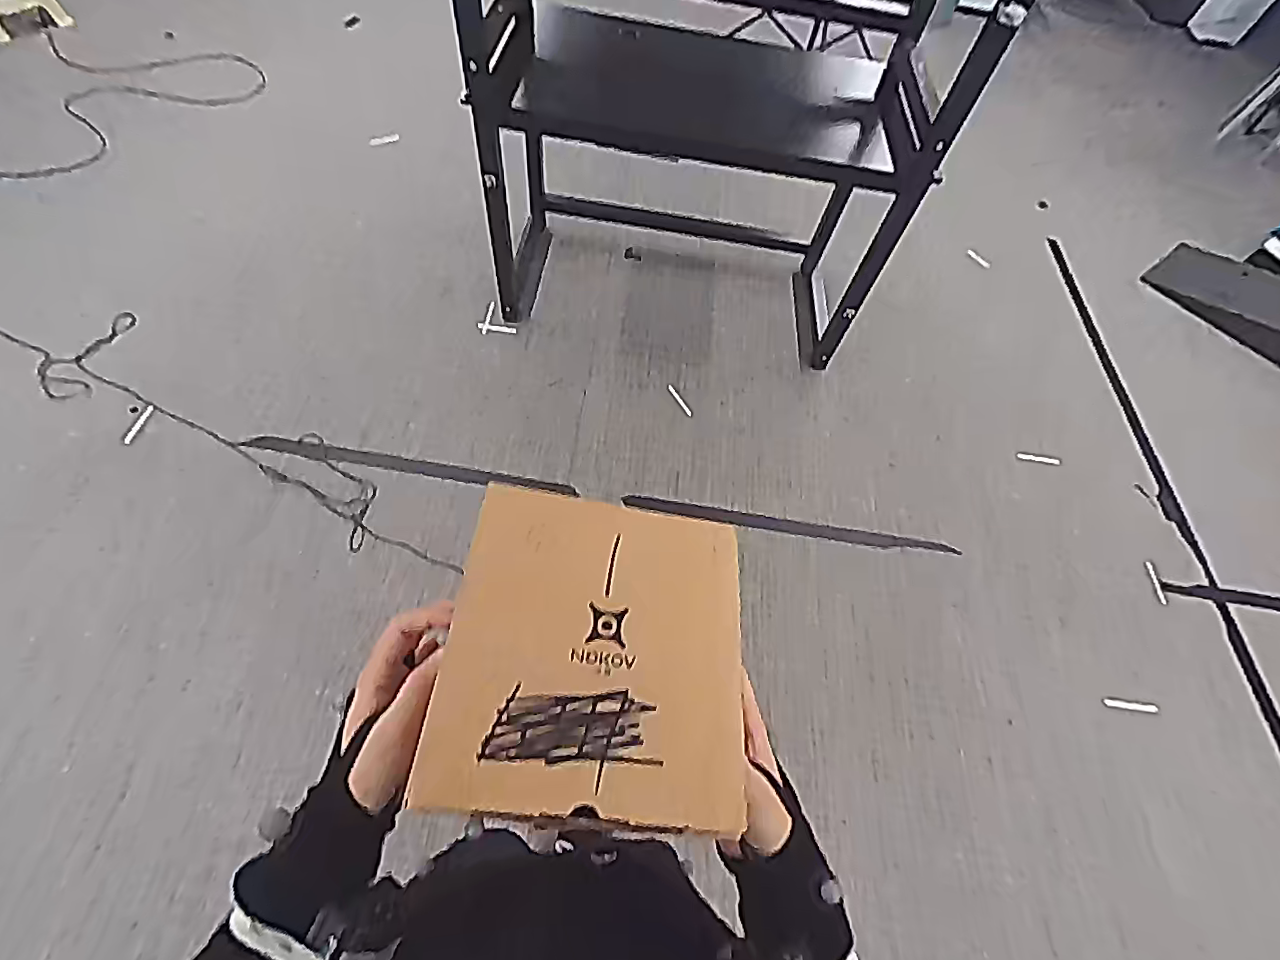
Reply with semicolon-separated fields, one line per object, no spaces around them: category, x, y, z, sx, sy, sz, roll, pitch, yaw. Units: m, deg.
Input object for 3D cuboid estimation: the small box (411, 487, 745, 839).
small box;-0.038;0.132;0.368;0.168;0.176;0.179;11;56;-10
